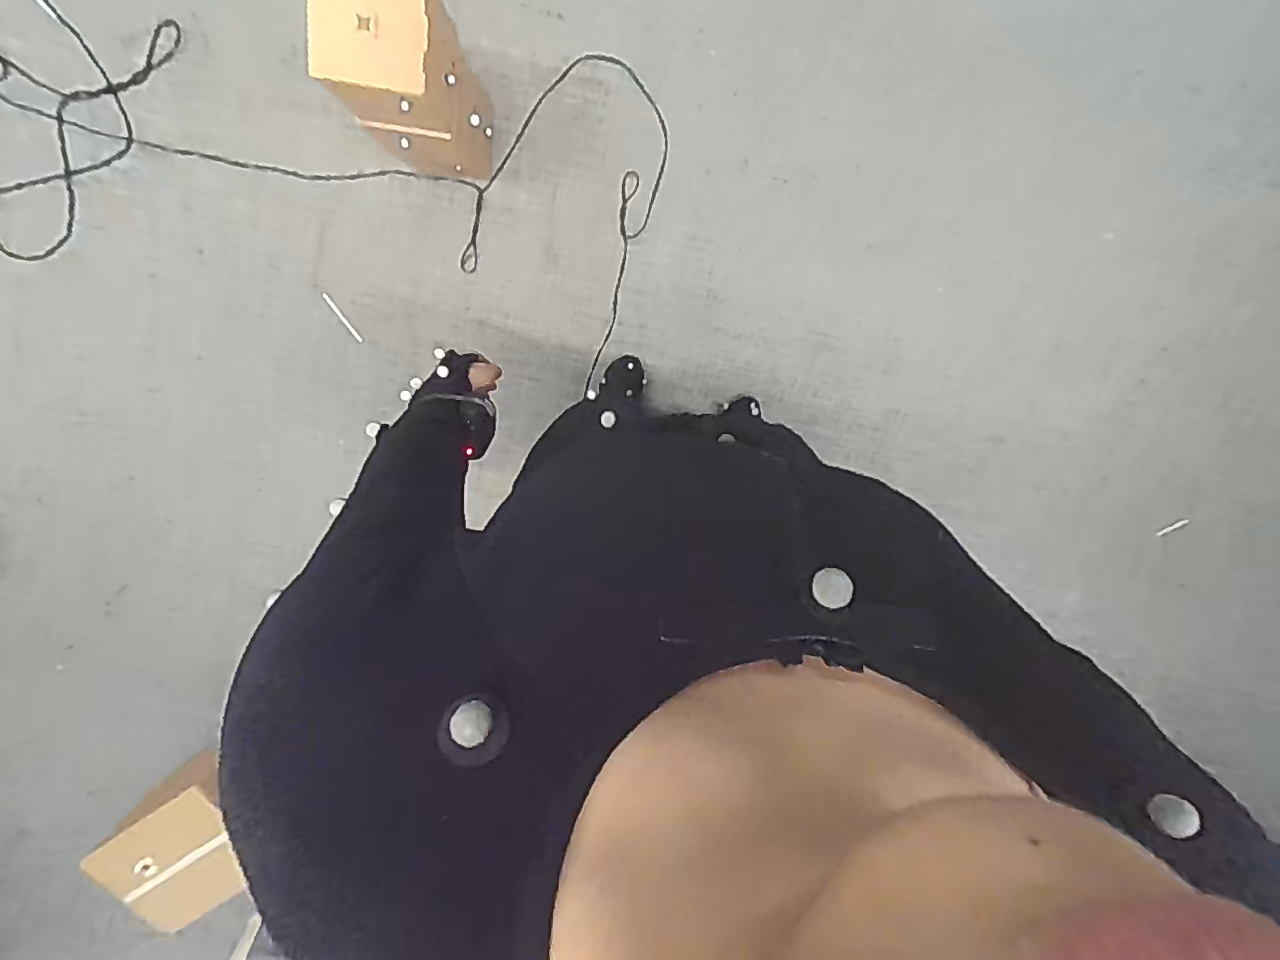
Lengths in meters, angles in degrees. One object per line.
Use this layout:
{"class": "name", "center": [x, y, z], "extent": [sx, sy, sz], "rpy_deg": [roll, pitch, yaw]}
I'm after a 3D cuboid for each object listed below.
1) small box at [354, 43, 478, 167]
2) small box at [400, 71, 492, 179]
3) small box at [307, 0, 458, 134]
{"class": "small box", "center": [-0.427, -0.733, 1.050], "extent": [0.179, 0.176, 0.168], "rpy_deg": [7, 104, -5]}
{"class": "small box", "center": [-0.434, -0.789, 1.205], "extent": [0.179, 0.176, 0.168], "rpy_deg": [4, 103, -2]}
{"class": "small box", "center": [-0.416, -0.700, 0.891], "extent": [0.179, 0.176, 0.168], "rpy_deg": [6, 103, -5]}
